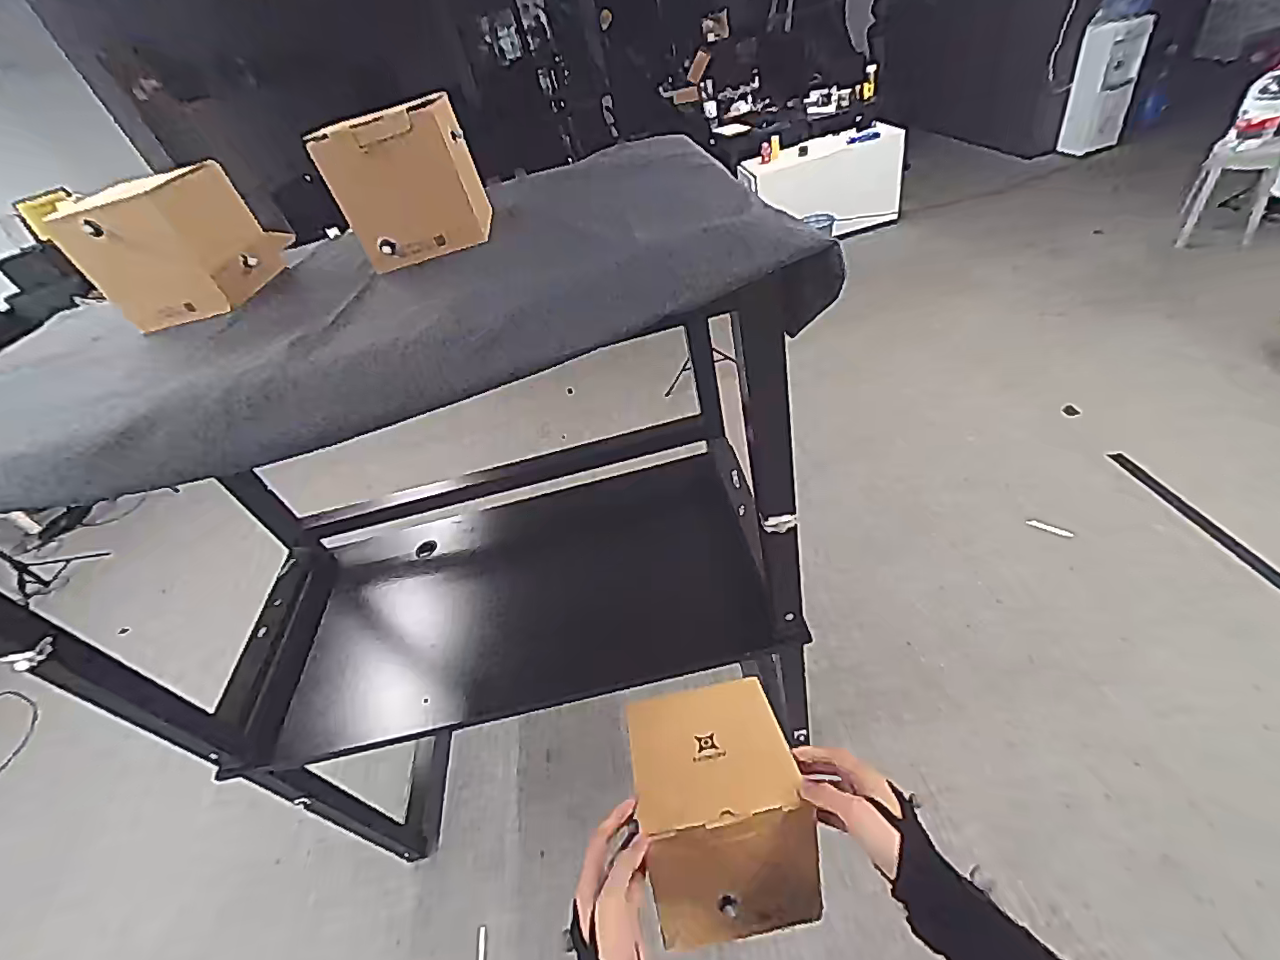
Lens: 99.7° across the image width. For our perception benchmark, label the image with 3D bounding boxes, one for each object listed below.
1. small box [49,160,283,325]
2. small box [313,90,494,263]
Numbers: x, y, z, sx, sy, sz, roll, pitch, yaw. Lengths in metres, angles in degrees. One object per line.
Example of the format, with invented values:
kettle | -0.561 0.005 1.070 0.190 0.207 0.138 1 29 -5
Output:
small box | -0.690 -0.358 0.819 0.168 0.176 0.179 -11 41 6
small box | -0.322 -0.432 0.778 0.168 0.176 0.179 -16 40 1
